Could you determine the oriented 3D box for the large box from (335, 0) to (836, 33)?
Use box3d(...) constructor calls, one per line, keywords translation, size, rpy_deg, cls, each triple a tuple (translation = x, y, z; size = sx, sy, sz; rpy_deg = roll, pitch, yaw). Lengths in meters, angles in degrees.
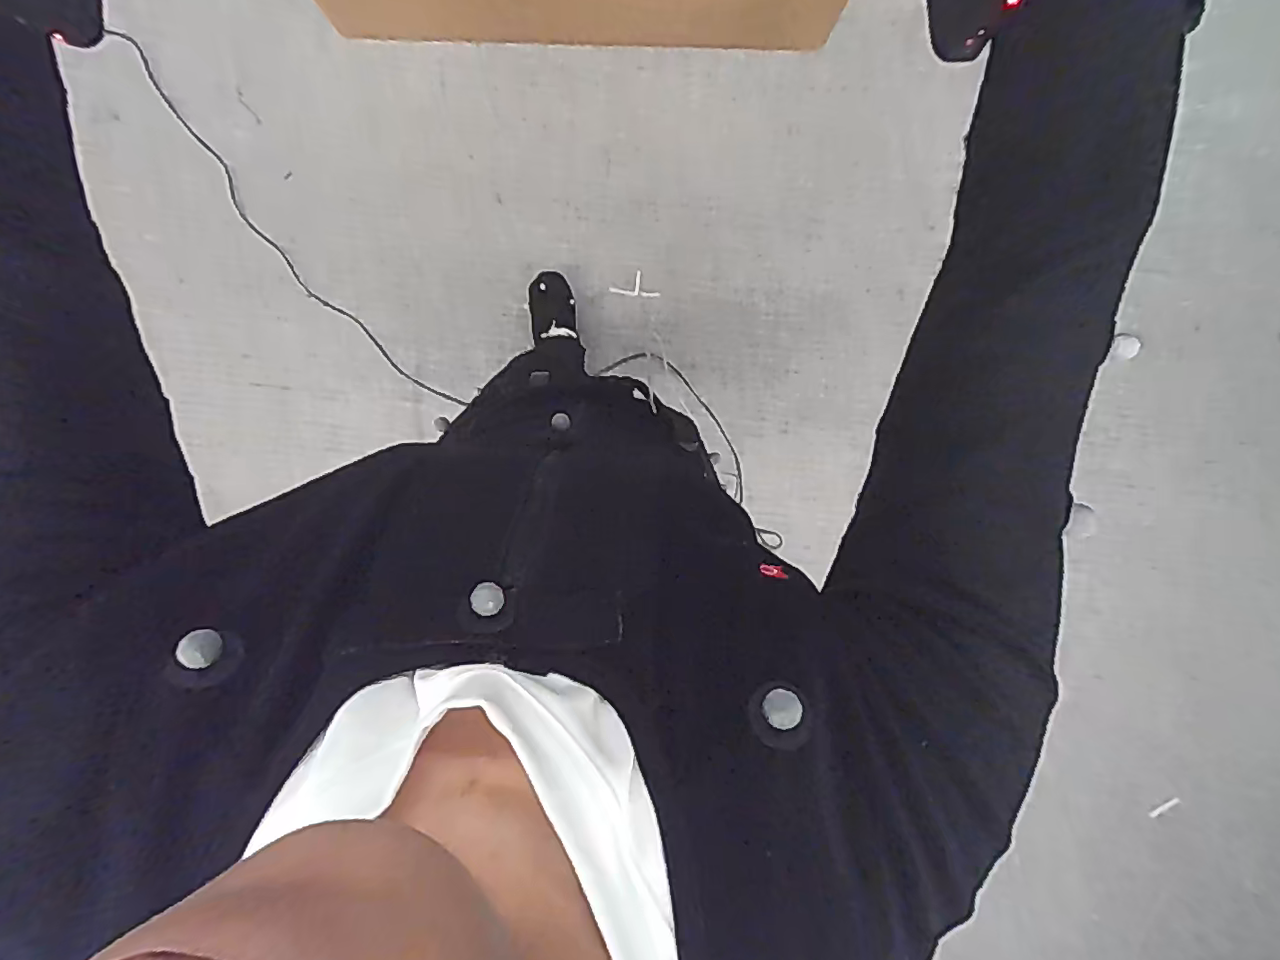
box3d(translation=(-0.039, -0.507, 0.289), size=(0.408, 0.320, 0.320), rpy_deg=(0, 98, -2), cls="large box")
